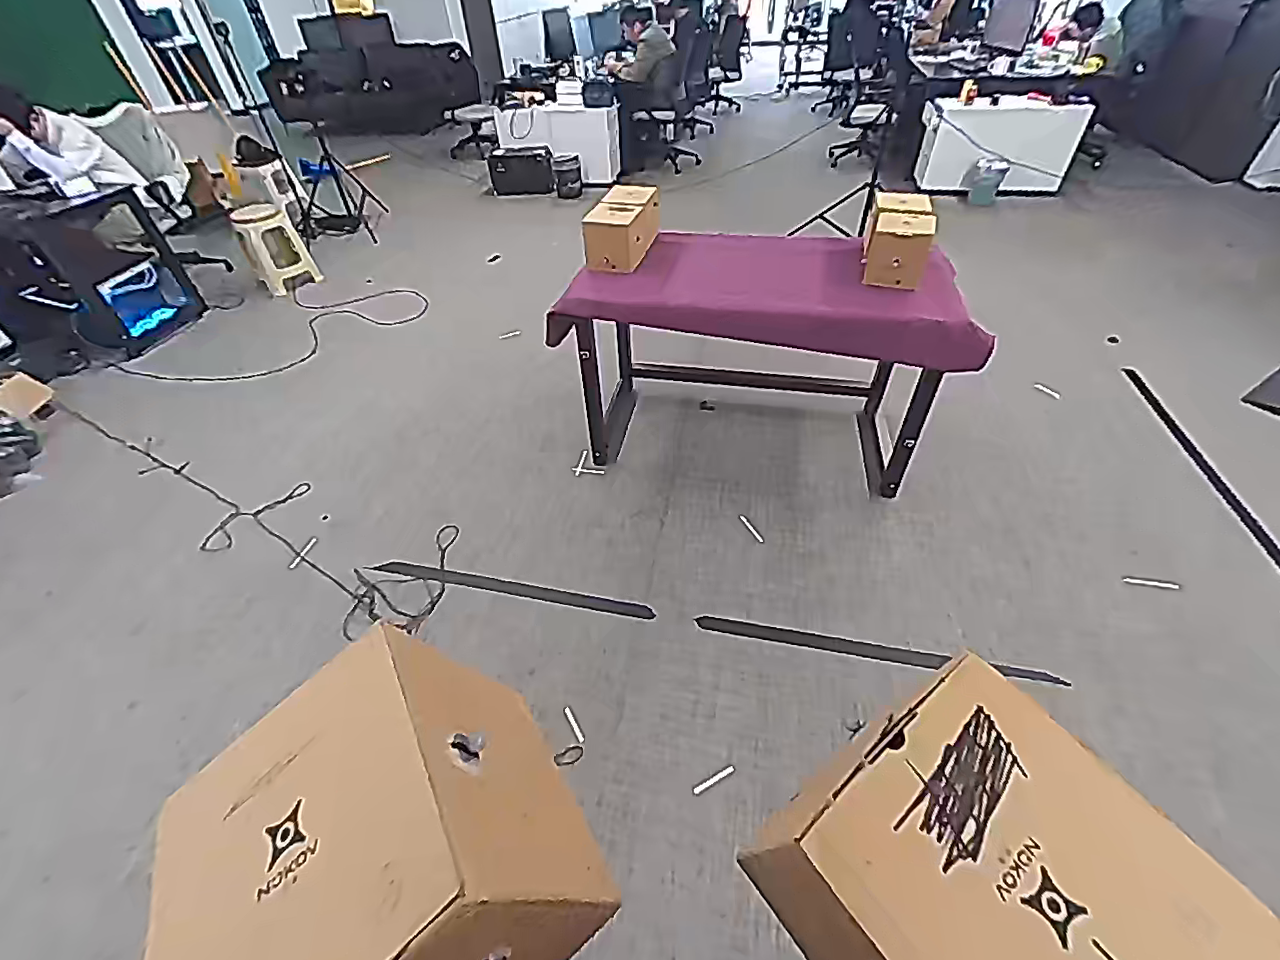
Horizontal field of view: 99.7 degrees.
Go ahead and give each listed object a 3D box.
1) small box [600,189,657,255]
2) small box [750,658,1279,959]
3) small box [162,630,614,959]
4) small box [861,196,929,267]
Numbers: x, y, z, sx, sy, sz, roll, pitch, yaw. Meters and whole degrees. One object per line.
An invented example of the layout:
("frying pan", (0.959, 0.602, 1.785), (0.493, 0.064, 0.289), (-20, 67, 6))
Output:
("small box", (-0.039, -0.954, 1.998), (0.168, 0.176, 0.179), (10, 46, 13))
("small box", (0.192, 0.250, 0.332), (0.168, 0.176, 0.179), (-31, 61, -23))
("small box", (-0.144, 0.235, 0.337), (0.168, 0.176, 0.179), (-41, 46, -9))
("small box", (0.858, -0.844, 1.836), (0.168, 0.176, 0.179), (10, 45, 12))
